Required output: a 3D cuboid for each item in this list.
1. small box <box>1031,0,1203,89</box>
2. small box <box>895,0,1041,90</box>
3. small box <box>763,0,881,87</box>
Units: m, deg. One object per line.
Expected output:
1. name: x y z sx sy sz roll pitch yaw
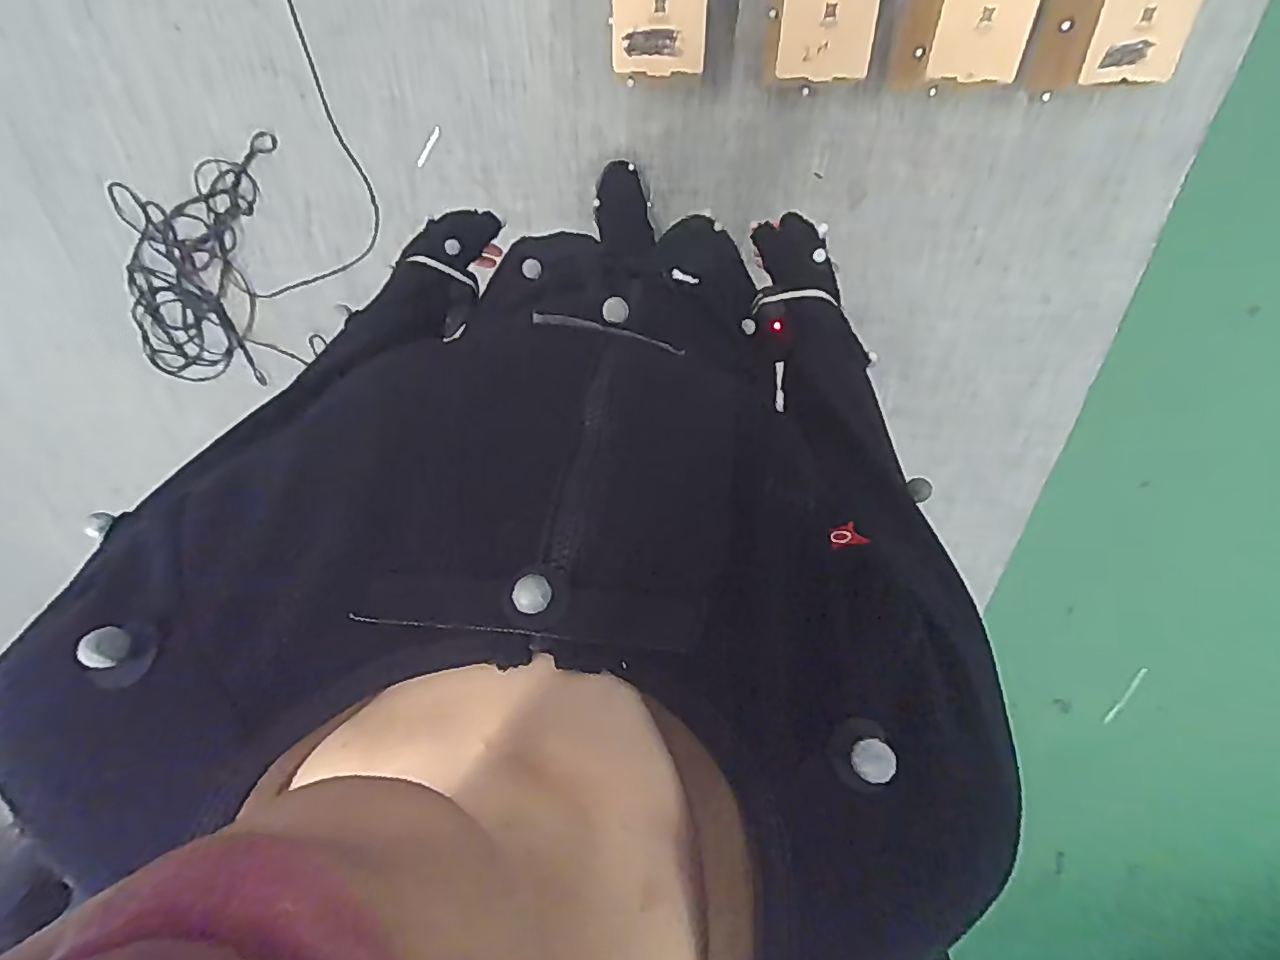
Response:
1. small box: 0.866 -0.829 0.990 0.168 0.176 0.179 0 121 2
2. small box: 0.598 -0.837 0.994 0.168 0.176 0.179 3 121 0
3. small box: 0.329 -0.842 0.995 0.168 0.176 0.179 2 121 2
